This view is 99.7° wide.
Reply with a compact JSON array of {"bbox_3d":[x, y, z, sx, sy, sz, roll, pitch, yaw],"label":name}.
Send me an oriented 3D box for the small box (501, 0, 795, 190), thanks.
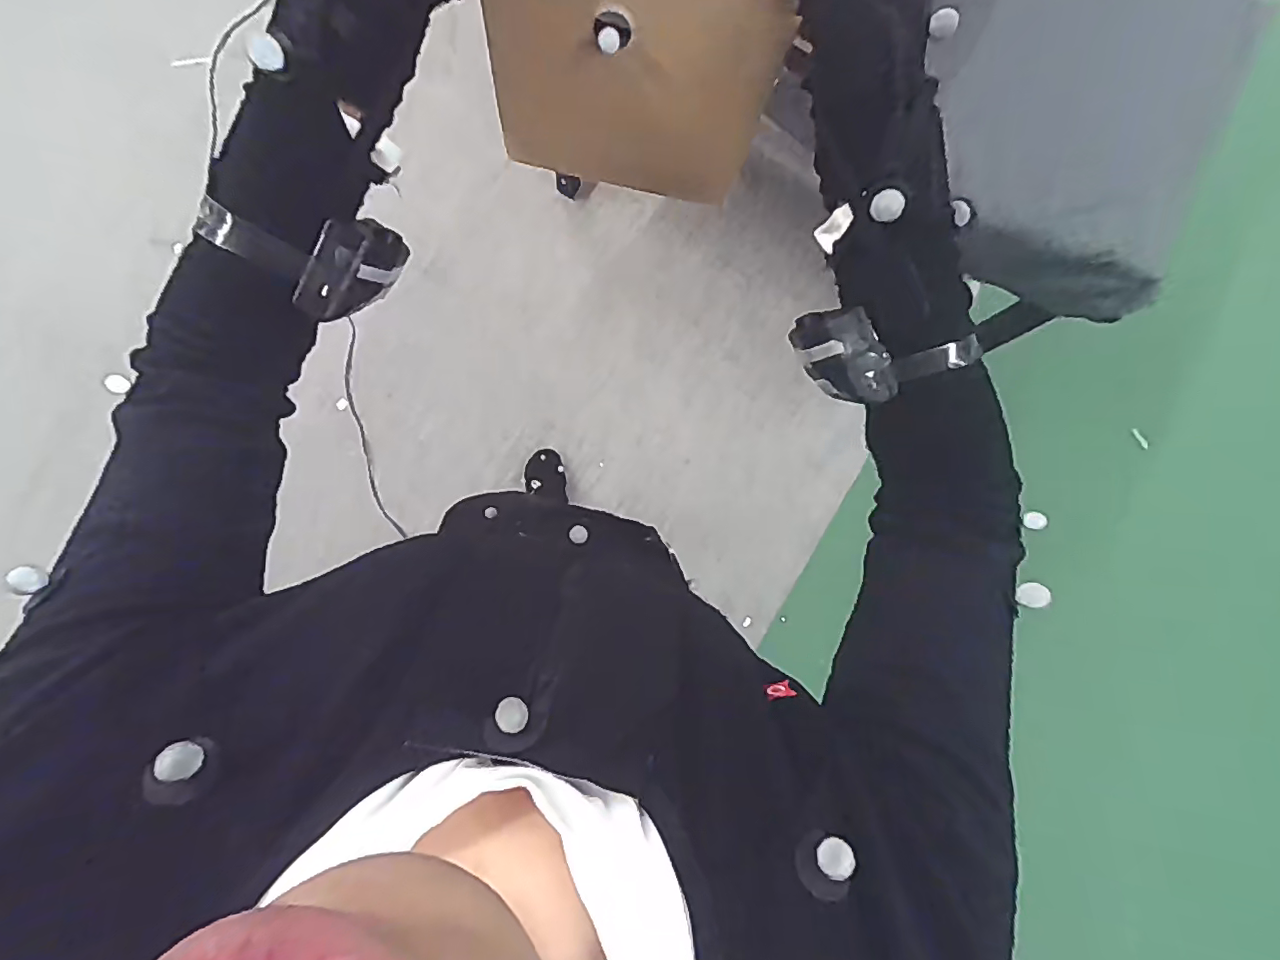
[{"bbox_3d":[0.006,-0.332,0.365,0.179,0.176,0.168,11,80,-5],"label":"small box"}]
